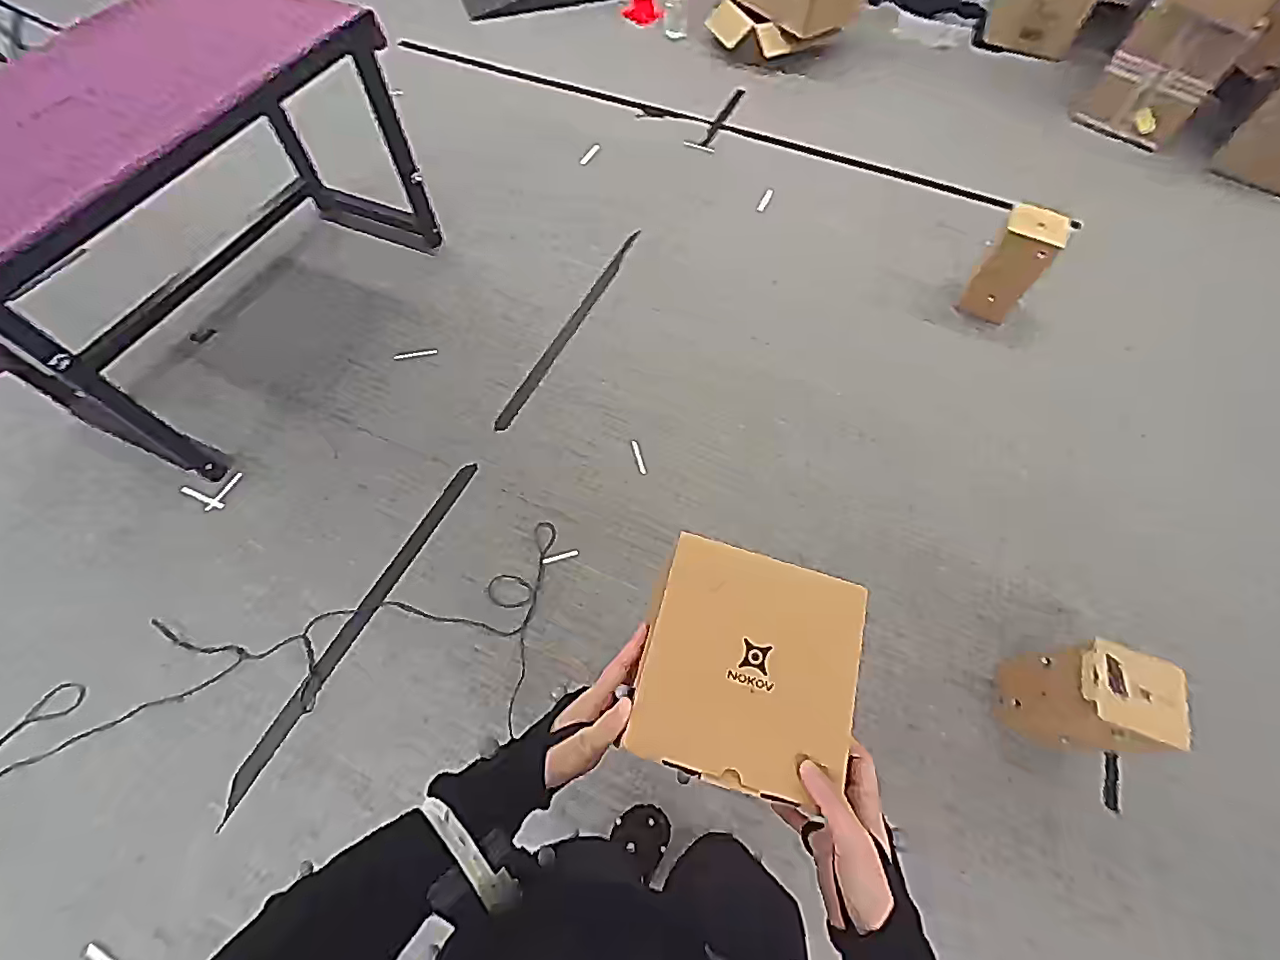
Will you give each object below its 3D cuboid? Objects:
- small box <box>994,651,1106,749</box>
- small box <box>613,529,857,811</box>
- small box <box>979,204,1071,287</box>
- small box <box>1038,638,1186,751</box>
[{"bbox_3d":[0.983,0.531,1.291,0.179,0.176,0.168,19,64,8],"label":"small box"},{"bbox_3d":[0.076,0.170,0.496,0.168,0.176,0.179,16,66,1],"label":"small box"},{"bbox_3d":[1.273,-0.771,1.793,0.179,0.176,0.168,26,64,13],"label":"small box"},{"bbox_3d":[0.983,0.459,1.143,0.179,0.176,0.168,20,64,8],"label":"small box"}]
